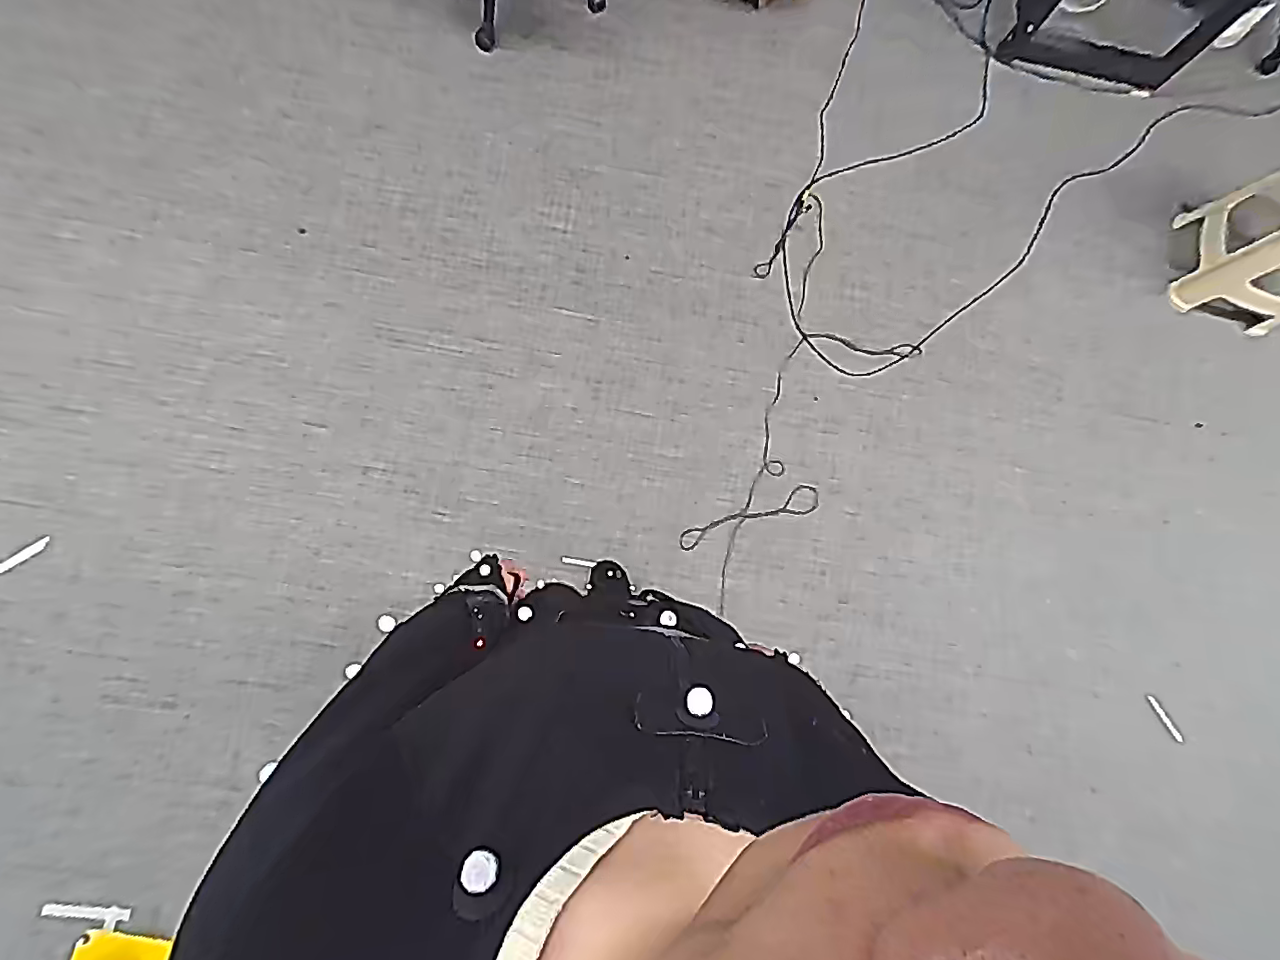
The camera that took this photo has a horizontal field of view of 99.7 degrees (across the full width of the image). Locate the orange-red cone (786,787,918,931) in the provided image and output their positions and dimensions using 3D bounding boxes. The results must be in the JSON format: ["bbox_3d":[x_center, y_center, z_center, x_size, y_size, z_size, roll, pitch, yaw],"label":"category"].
[{"bbox_3d":[0.461,0.817,1.133,0.199,0.360,0.198,5,78,-4],"label":"orange-red cone"}]
